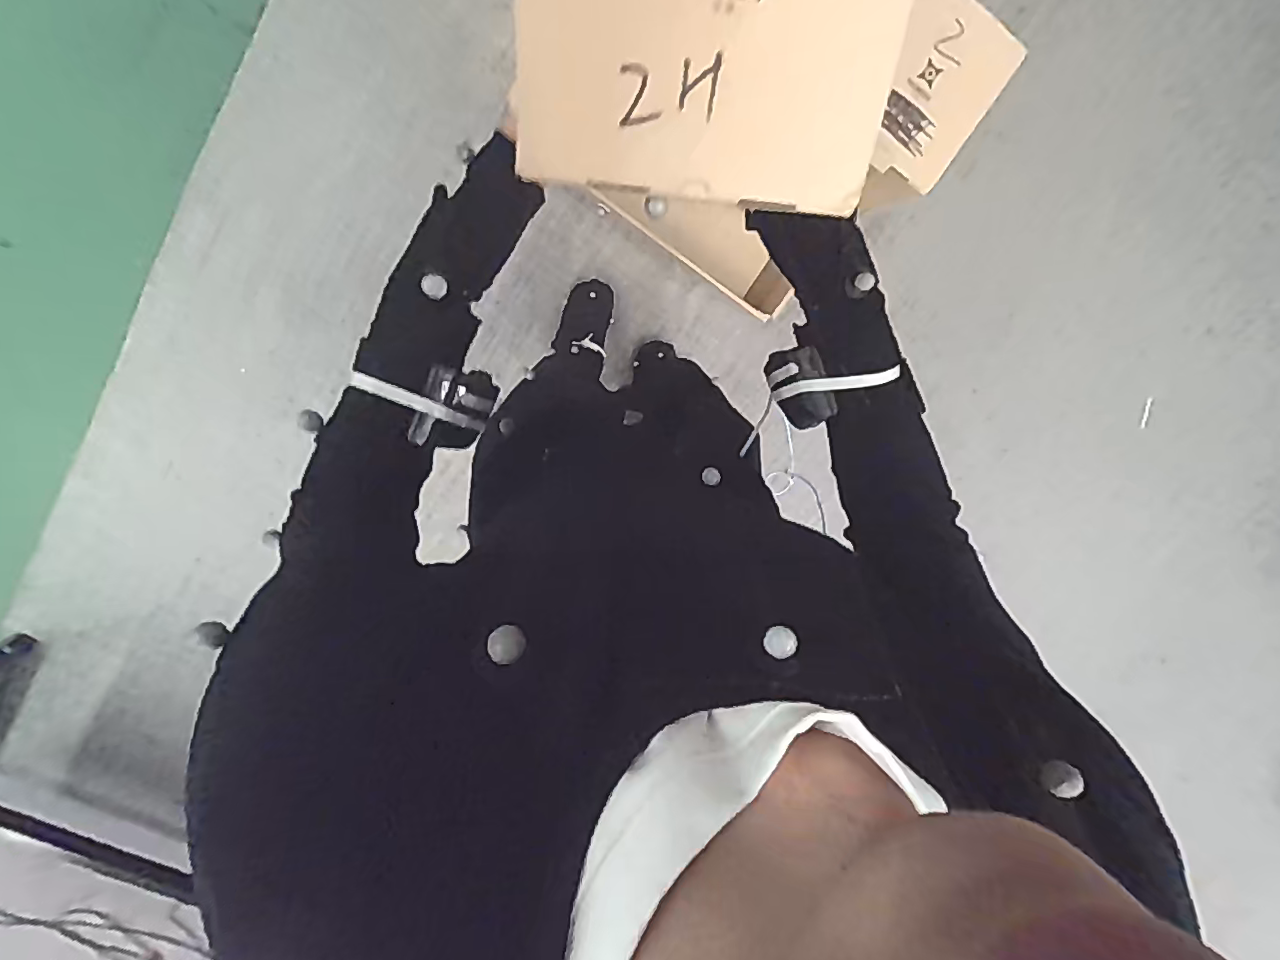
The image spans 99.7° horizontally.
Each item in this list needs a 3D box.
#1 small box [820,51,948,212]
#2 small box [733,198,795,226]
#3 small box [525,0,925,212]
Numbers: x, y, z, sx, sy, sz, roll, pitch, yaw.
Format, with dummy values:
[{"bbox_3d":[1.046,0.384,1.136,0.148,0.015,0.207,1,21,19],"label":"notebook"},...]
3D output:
[{"bbox_3d":[0.314,-0.543,0.832,0.168,0.176,0.179,33,104,-15],"label":"small box"},{"bbox_3d":[0.287,-0.663,1.137,0.168,0.176,0.179,28,105,-11],"label":"small box"},{"bbox_3d":[0.028,-0.249,0.278,0.168,0.176,0.179,2,121,-9],"label":"small box"}]
